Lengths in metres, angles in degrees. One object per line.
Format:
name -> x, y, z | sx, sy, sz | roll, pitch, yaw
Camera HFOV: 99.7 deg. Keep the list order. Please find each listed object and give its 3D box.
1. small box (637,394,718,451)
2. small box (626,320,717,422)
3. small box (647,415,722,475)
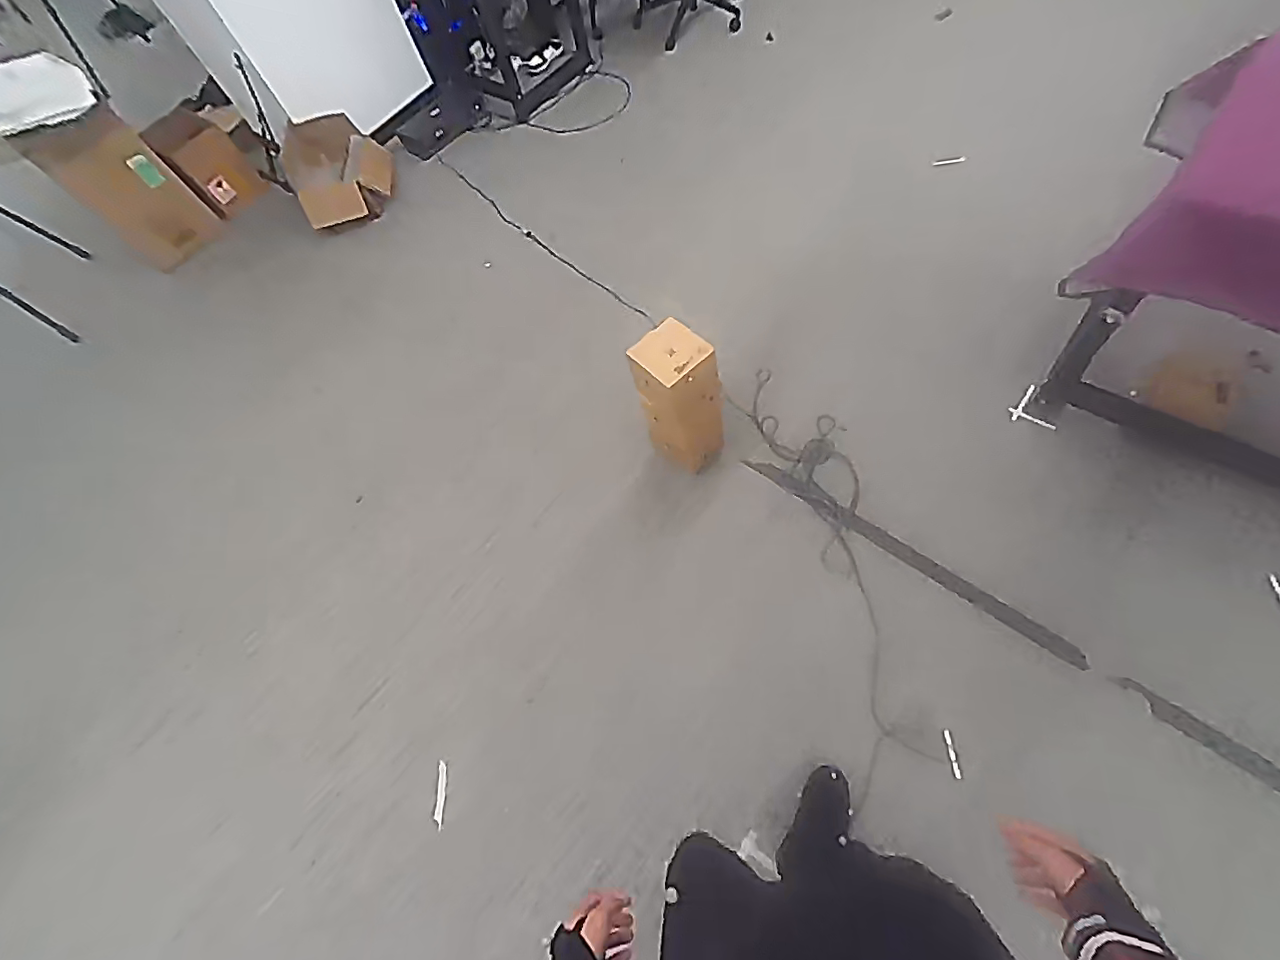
small box -> 0.120, -0.217, 1.605 | 0.168, 0.176, 0.179 | 36, 75, 25
small box -> 0.090, -0.288, 1.460 | 0.168, 0.176, 0.179 | -41, 62, -10
small box -> 0.148, -0.144, 1.747 | 0.179, 0.176, 0.168 | 35, 75, 24
